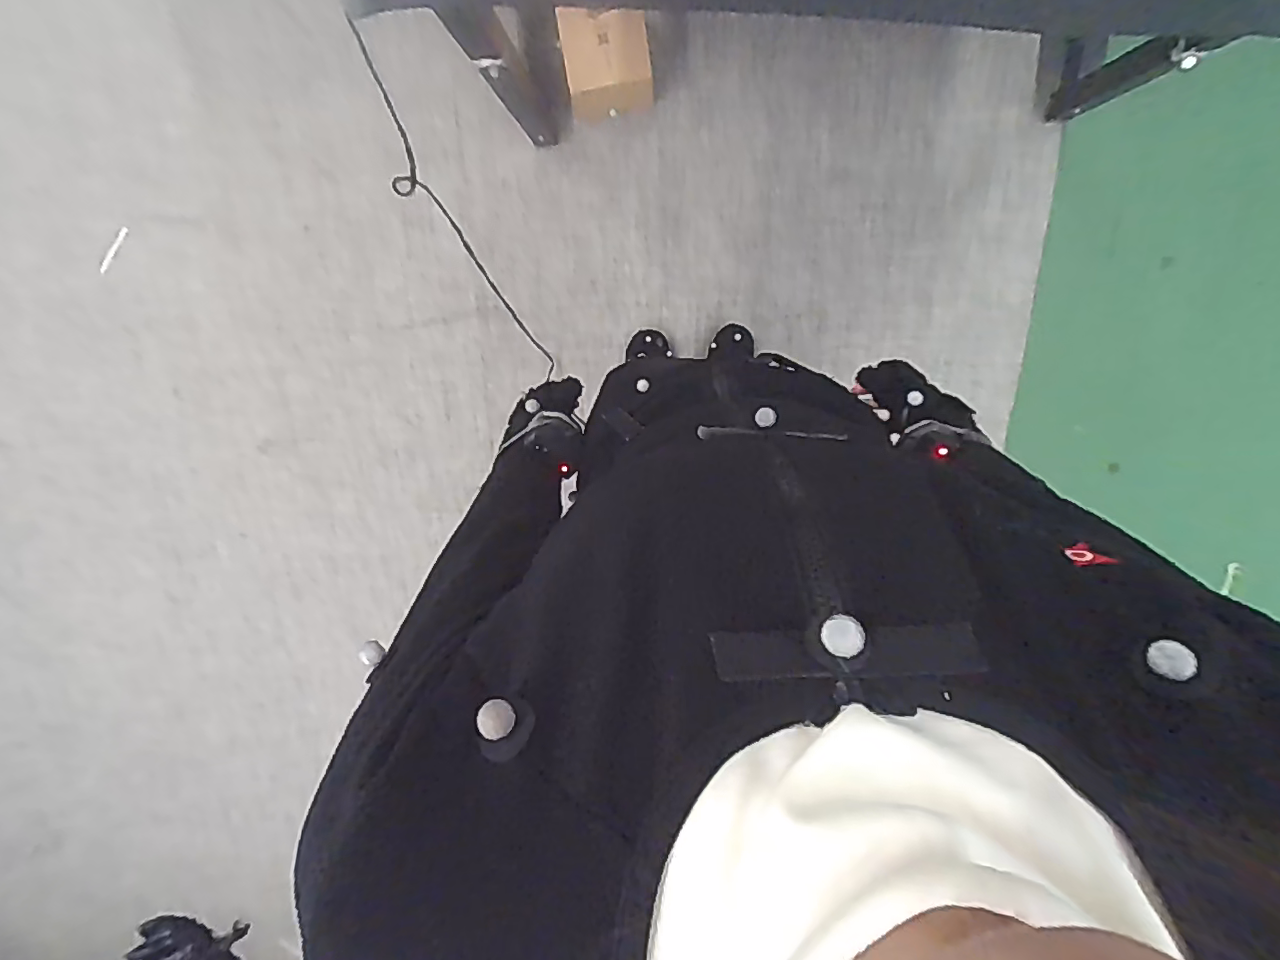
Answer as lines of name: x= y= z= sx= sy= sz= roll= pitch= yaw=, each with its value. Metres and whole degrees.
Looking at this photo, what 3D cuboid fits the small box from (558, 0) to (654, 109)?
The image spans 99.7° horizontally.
small box: x=-0.066 y=-0.890 z=1.092 sx=0.168 sy=0.176 sz=0.179 roll=-8 pitch=108 yaw=4
